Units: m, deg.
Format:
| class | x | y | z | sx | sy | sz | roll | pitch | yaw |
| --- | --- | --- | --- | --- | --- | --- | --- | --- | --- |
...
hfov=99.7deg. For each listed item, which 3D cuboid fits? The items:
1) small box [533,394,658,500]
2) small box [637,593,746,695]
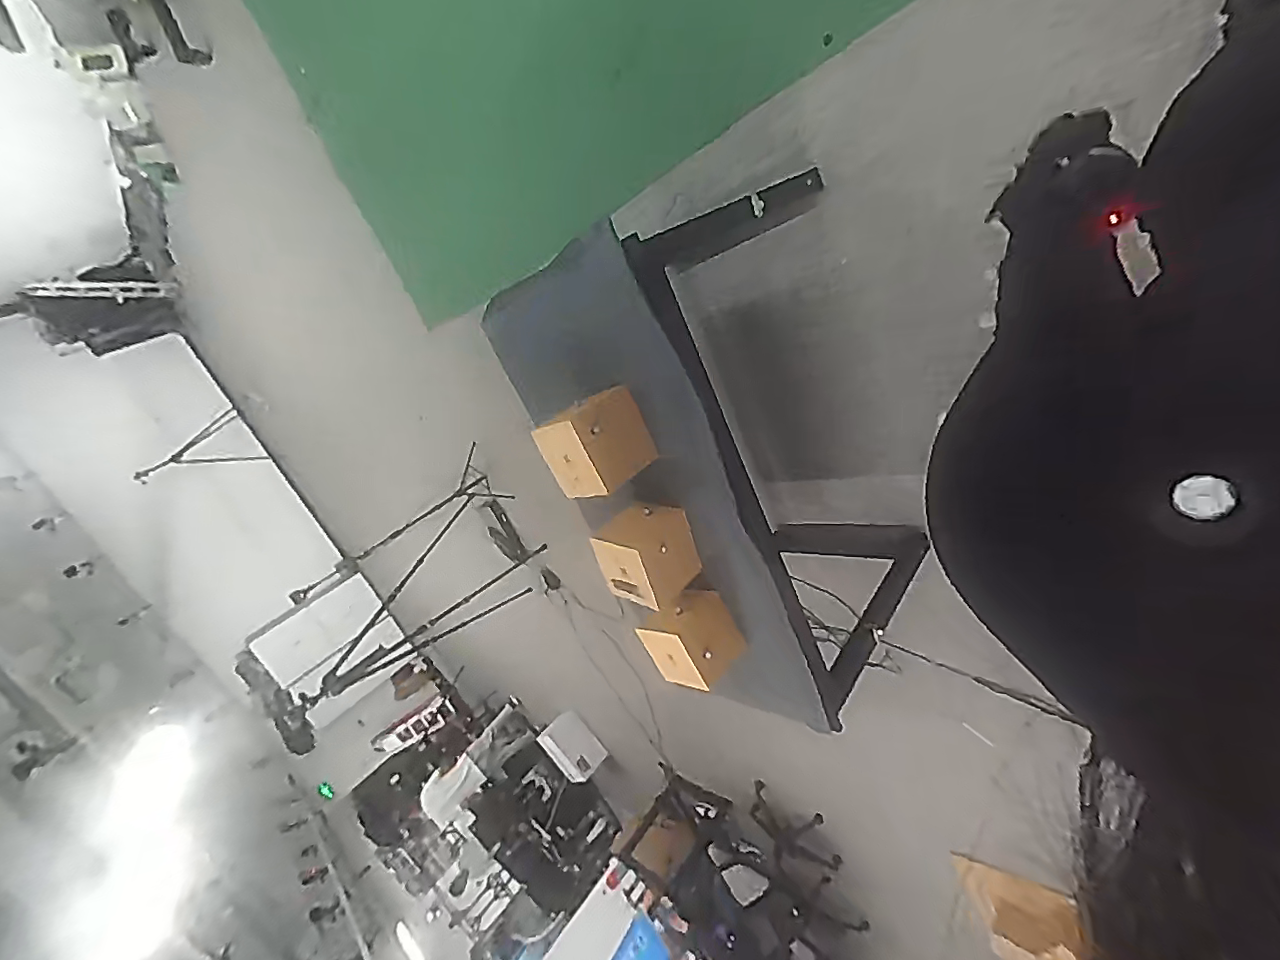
| class | x | y | z | sx | sy | sz | roll | pitch | yaw |
| --- | --- | --- | --- | --- | --- | --- | --- | --- | --- |
| small box | -0.094 | -0.075 | 1.175 | 0.168 | 0.176 | 0.179 | -7 | 116 | 51 |
| small box | 0.130 | 0.399 | 1.349 | 0.168 | 0.176 | 0.179 | -13 | 111 | 51 |
